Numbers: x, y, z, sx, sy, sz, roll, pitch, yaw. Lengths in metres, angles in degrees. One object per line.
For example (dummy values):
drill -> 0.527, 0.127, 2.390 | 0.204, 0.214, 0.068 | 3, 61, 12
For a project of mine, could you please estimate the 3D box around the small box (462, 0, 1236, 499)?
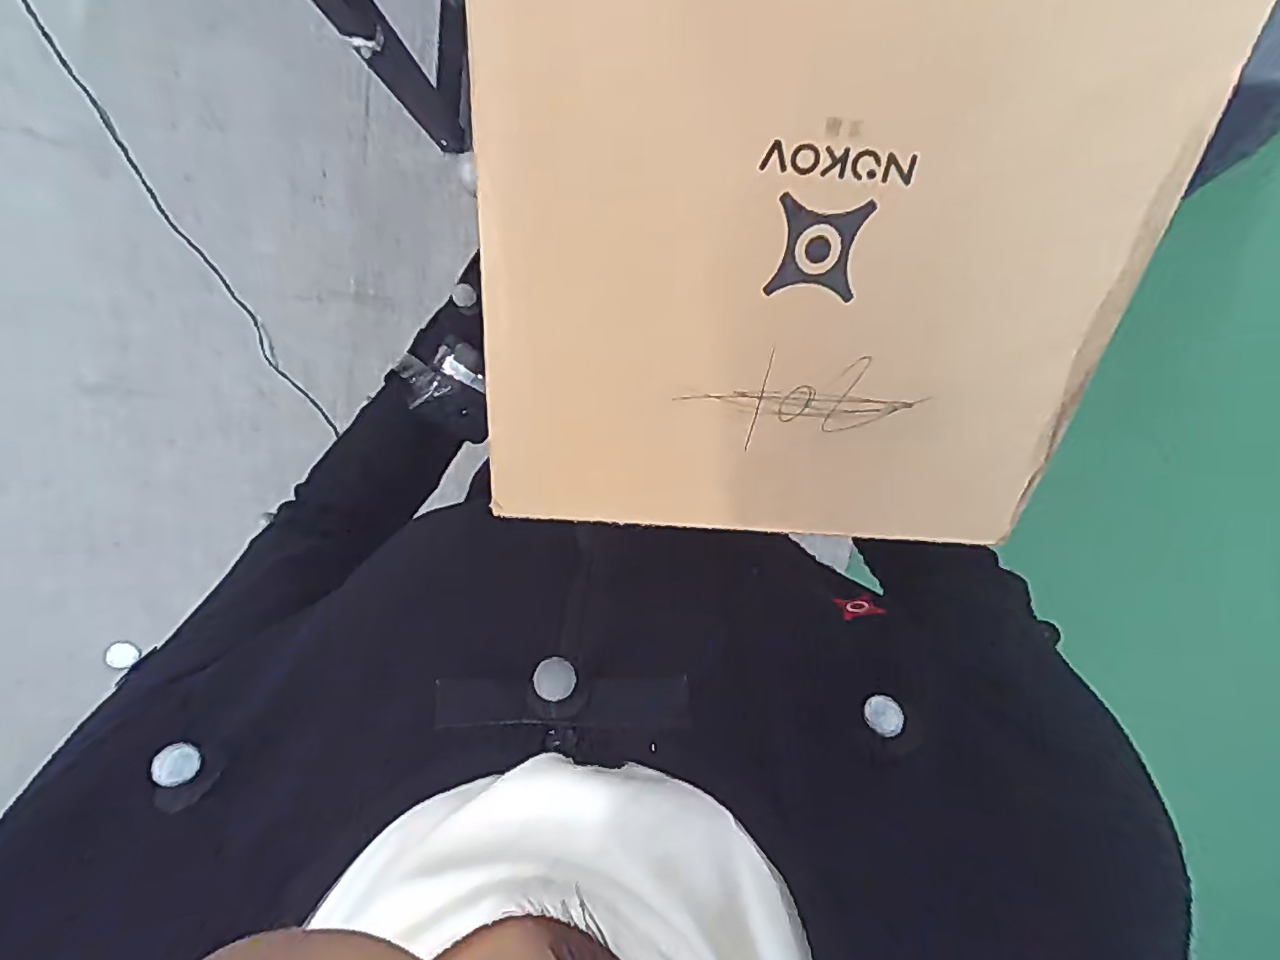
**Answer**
small box -> 0.040, -0.113, 0.198 | 0.168, 0.176, 0.179 | 4, 119, -2
